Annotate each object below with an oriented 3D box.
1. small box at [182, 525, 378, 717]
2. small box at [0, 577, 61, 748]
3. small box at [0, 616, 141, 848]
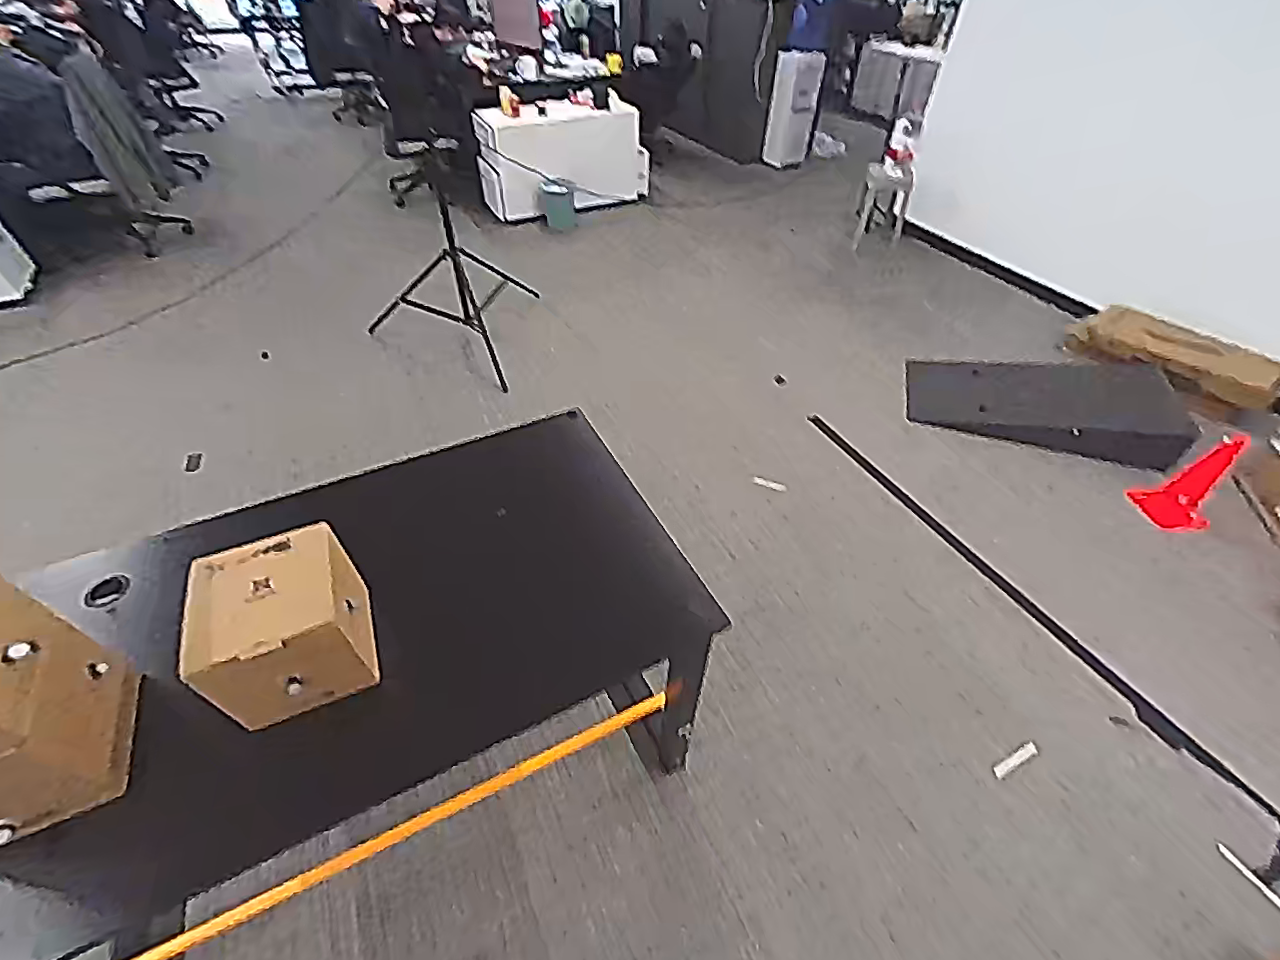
[{"bbox_3d":[-0.477,0.198,0.739,0.168,0.176,0.179,-18,49,-18],"label":"small box"},{"bbox_3d":[-0.734,0.186,0.516,0.179,0.176,0.168,-21,50,-20],"label":"small box"},{"bbox_3d":[-0.737,0.300,0.634,0.168,0.176,0.179,-21,50,-19],"label":"small box"}]
